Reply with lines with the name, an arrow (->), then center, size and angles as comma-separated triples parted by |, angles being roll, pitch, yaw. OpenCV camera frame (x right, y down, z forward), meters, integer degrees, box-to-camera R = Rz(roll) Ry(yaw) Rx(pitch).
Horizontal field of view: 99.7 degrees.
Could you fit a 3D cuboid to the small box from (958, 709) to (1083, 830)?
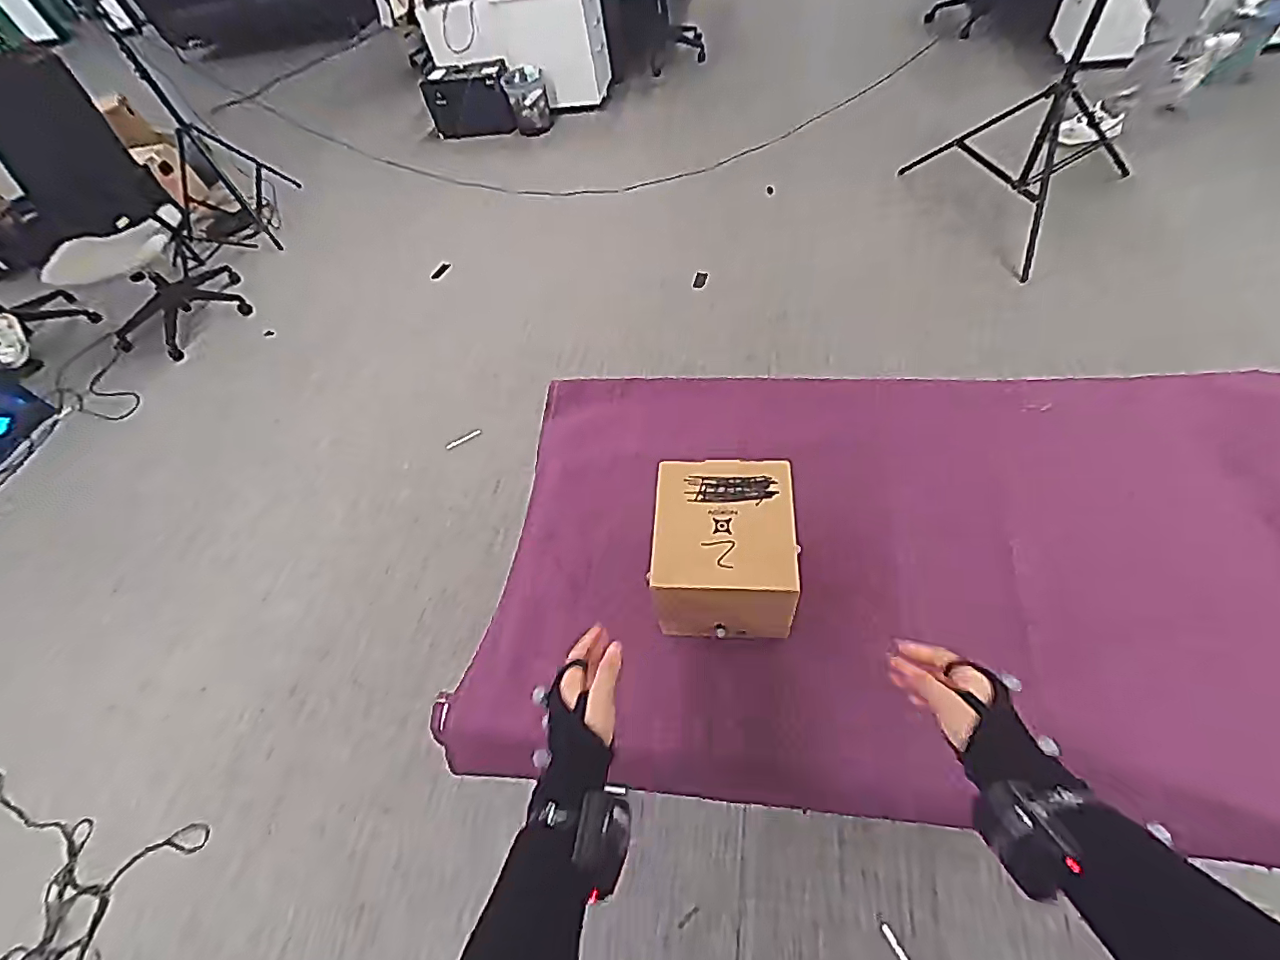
small box -> 0.785, 0.610, 1.133 | 0.168, 0.176, 0.179 | 10, 57, 17
